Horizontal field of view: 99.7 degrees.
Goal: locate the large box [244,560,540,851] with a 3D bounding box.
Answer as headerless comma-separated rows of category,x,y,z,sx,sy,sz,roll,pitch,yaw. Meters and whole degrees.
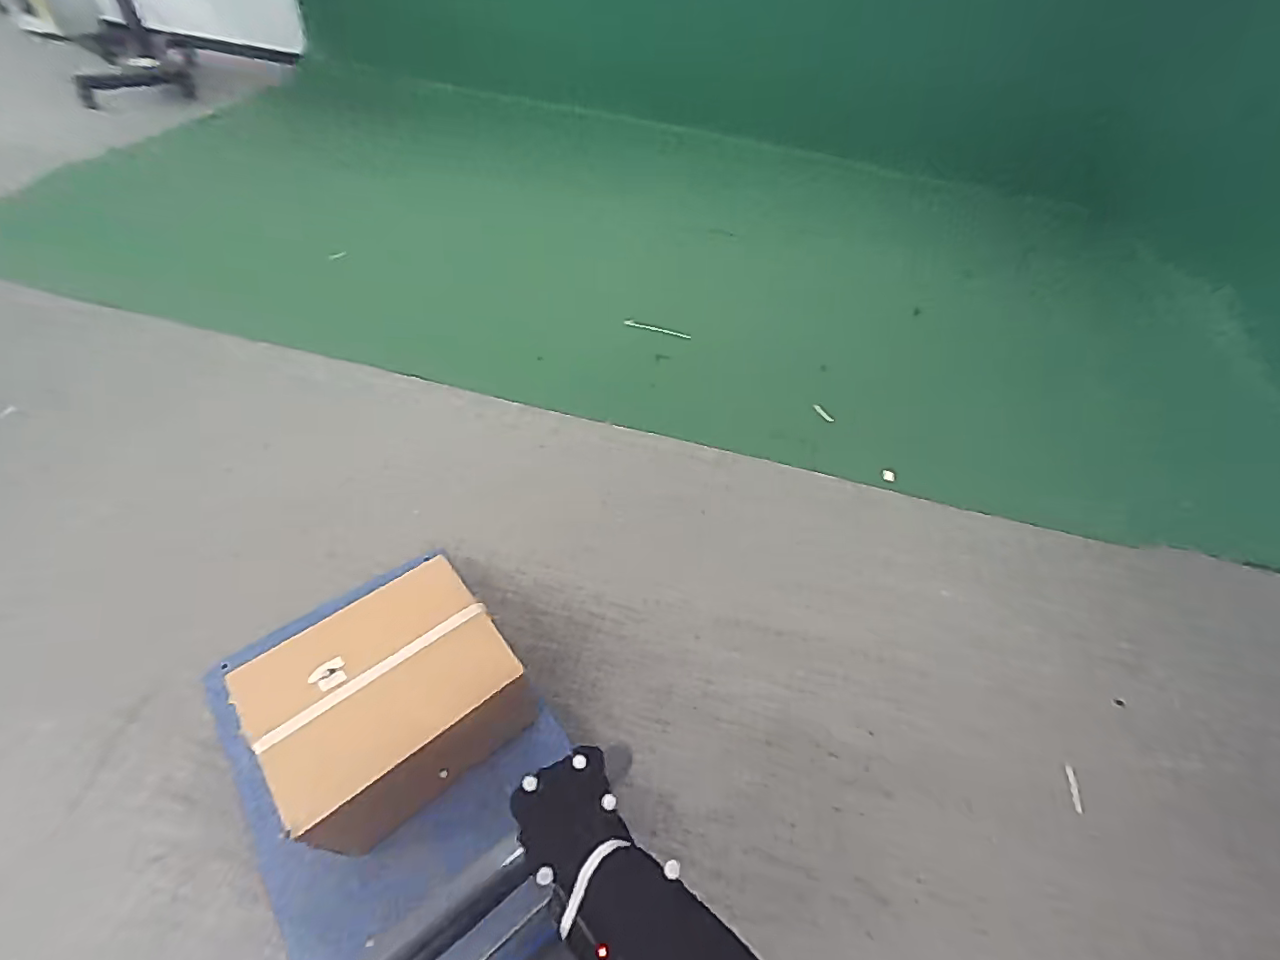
large box,-0.458,0.443,1.083,0.408,0.320,0.320,-32,60,-26
